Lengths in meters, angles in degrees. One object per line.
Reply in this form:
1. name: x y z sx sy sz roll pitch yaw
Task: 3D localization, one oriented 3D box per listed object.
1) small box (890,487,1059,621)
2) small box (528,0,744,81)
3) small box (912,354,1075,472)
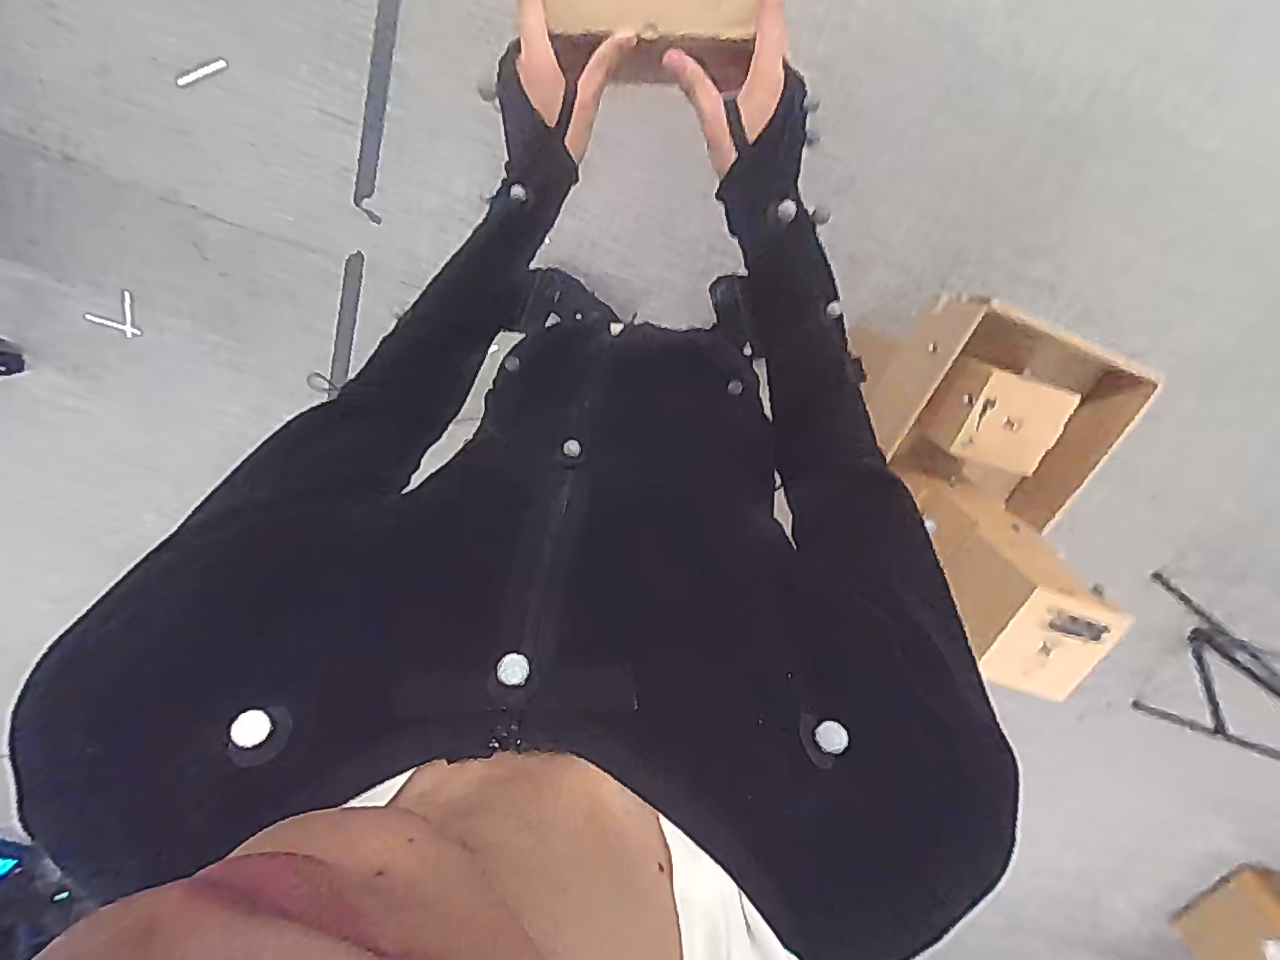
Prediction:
1. small box: 0.620 0.132 1.027 0.179 0.176 0.168 19 112 -6
2. small box: 0.005 -0.446 0.442 0.168 0.176 0.179 3 117 2
3. small box: 0.690 -0.140 1.080 0.179 0.176 0.168 15 114 -6
